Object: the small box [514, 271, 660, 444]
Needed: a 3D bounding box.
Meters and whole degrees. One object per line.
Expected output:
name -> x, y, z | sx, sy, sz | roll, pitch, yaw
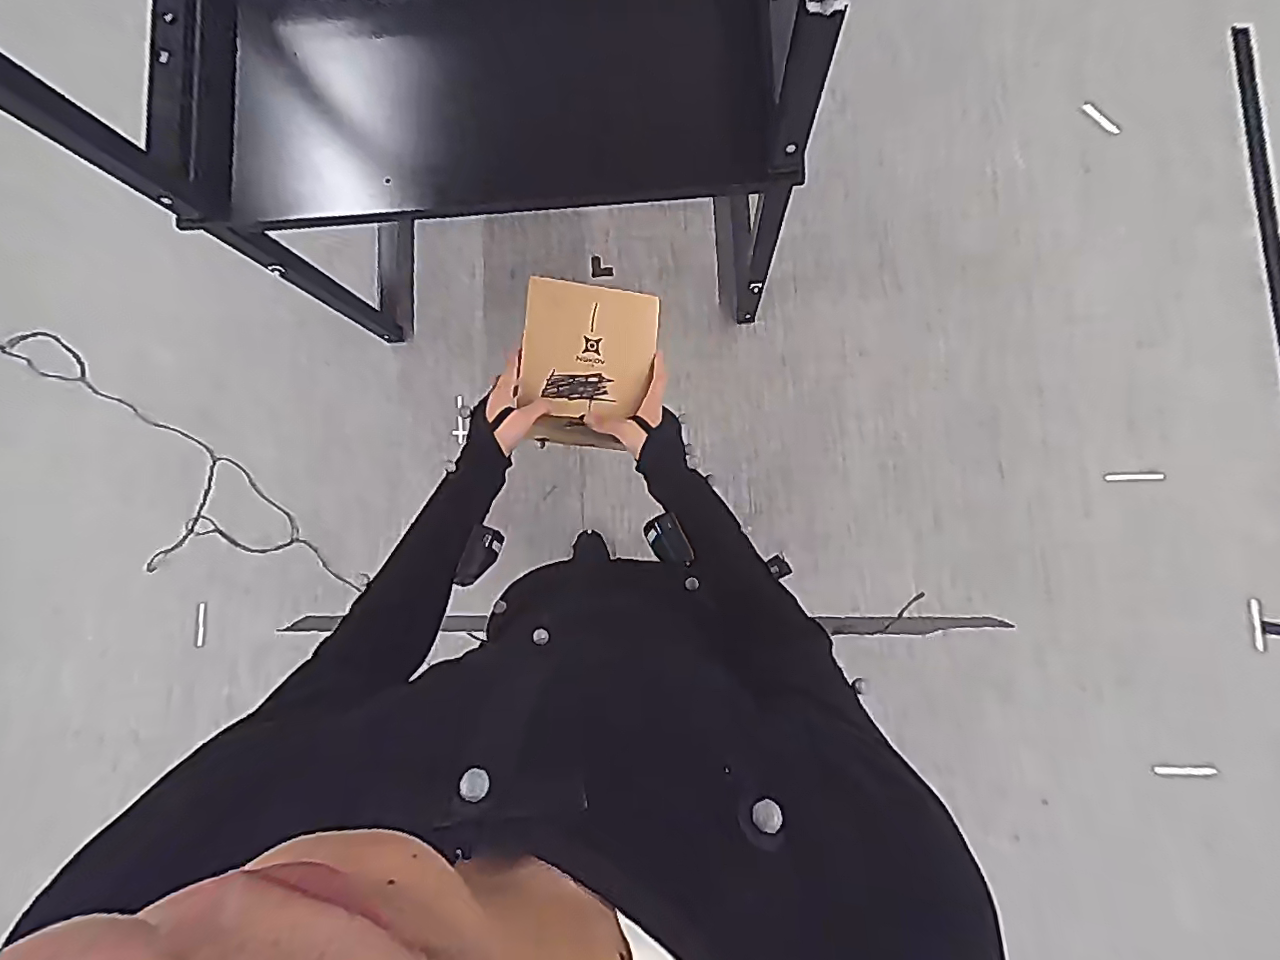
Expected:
small box -> -0.076, -0.152, 0.737 | 0.168, 0.176, 0.179 | 6, 82, -11
